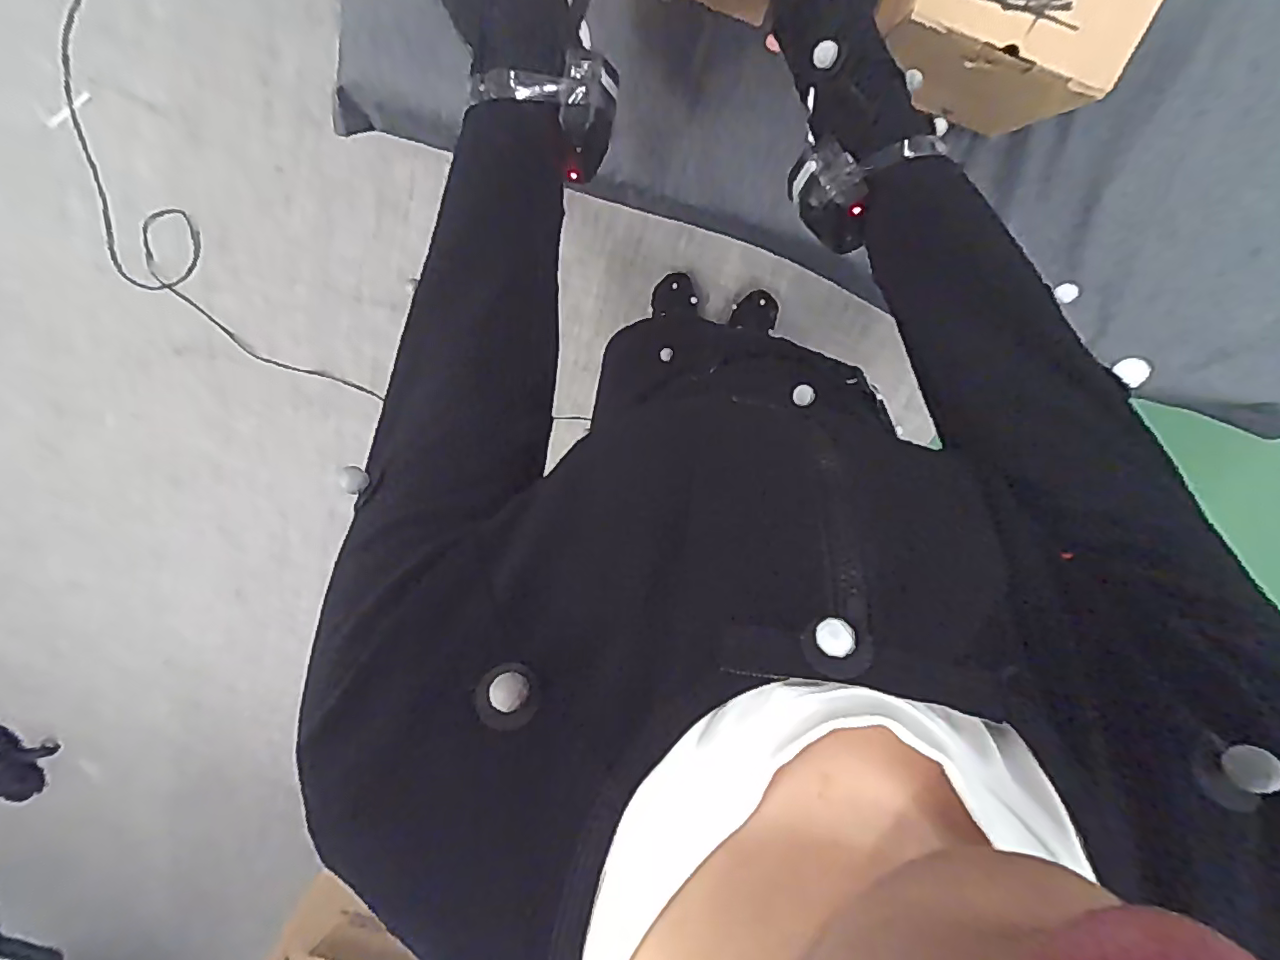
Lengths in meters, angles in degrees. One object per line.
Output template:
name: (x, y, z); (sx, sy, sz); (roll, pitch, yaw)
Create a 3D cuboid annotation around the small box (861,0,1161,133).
small box: (0.307, -0.417, 0.443); (0.168, 0.176, 0.179); (19, 112, -4)

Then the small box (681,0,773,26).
small box: (0.064, -0.512, 0.423); (0.168, 0.176, 0.179); (18, 115, -3)
